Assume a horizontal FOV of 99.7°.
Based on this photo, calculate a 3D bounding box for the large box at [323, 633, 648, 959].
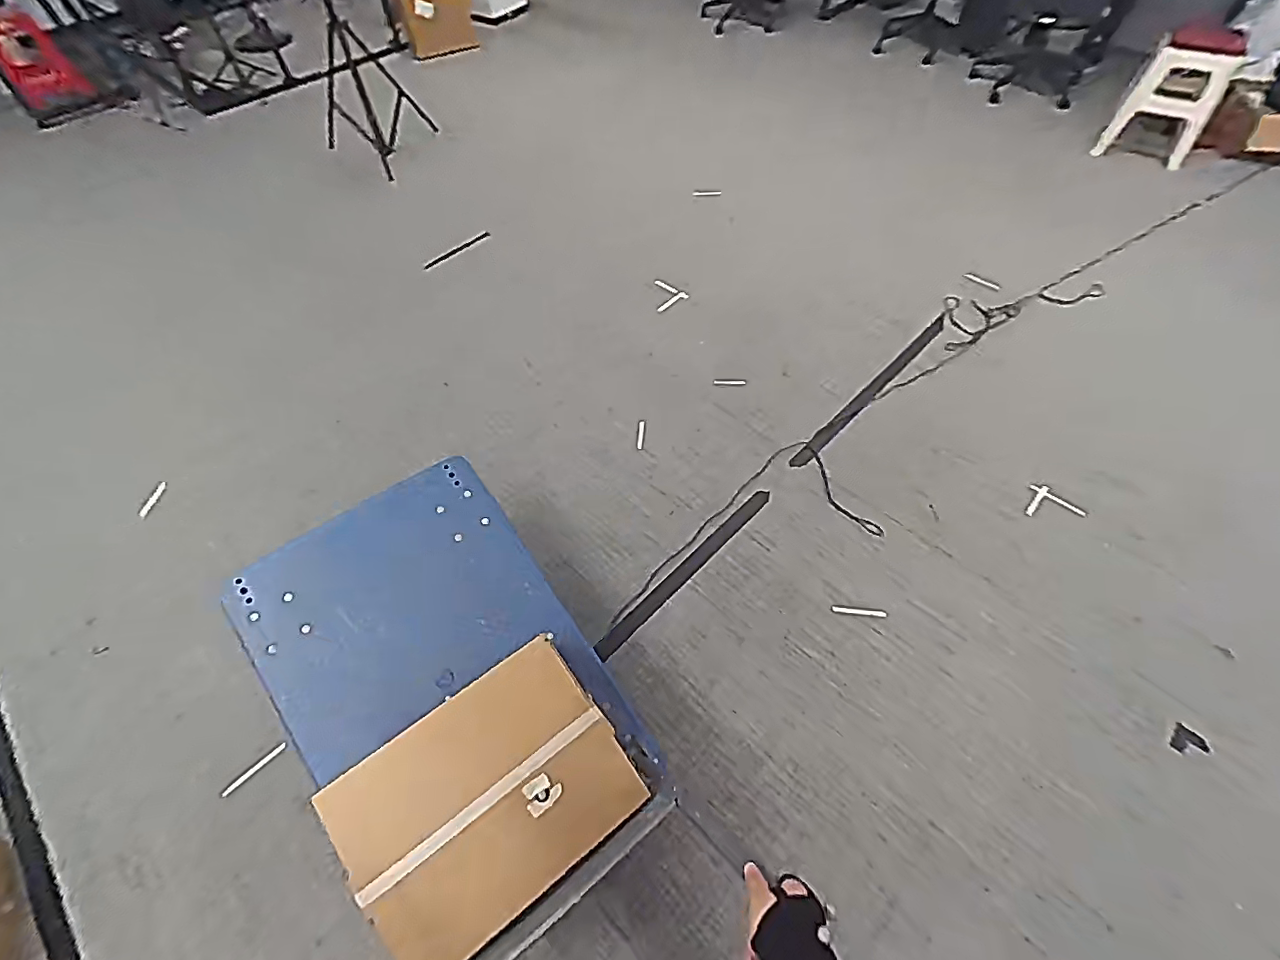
[{"bbox_3d":[-0.254,0.539,0.974,0.408,0.320,0.320,-34,80,-21],"label":"large box"}]
